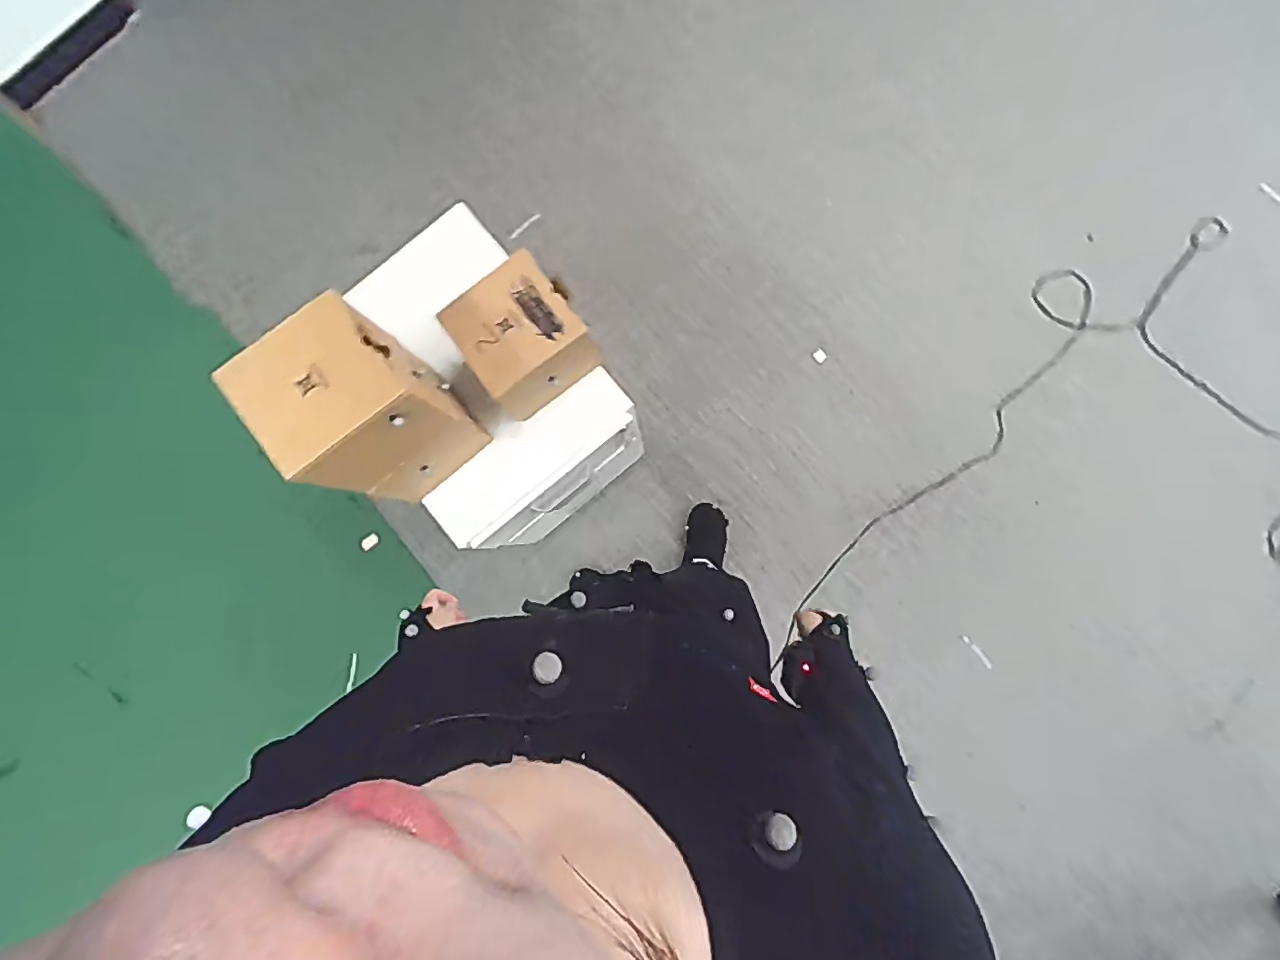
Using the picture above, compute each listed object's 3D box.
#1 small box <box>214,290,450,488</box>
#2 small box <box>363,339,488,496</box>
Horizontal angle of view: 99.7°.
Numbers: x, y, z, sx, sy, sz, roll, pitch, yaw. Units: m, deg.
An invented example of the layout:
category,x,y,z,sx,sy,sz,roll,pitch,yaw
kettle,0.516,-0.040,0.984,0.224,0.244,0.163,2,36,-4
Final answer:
category,x,y,z,sx,sy,sz,roll,pitch,yaw
small box,-0.389,-0.106,0.717,0.179,0.176,0.168,-39,84,-4
small box,-0.381,-0.089,0.880,0.179,0.176,0.168,-41,85,-2
